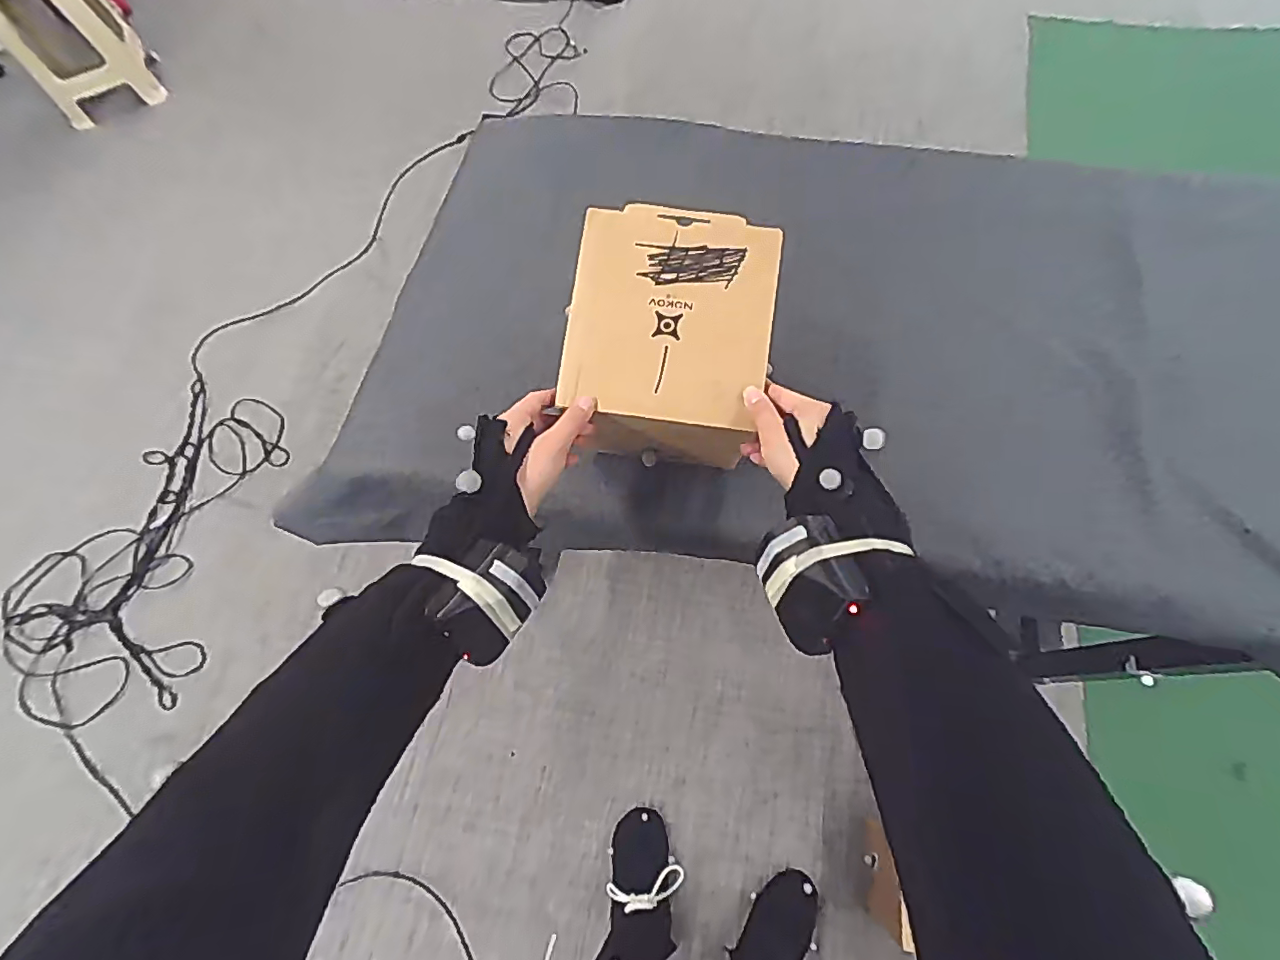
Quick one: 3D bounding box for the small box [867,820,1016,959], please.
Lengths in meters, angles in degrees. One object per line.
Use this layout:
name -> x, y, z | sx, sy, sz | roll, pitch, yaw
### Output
small box -> 0.521, 0.721, 0.958 | 0.179, 0.176, 0.168 | 5, 67, 7

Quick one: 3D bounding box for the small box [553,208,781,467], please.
small box -> 0.026, -0.120, 0.513 | 0.168, 0.176, 0.179 | 8, 82, 4
